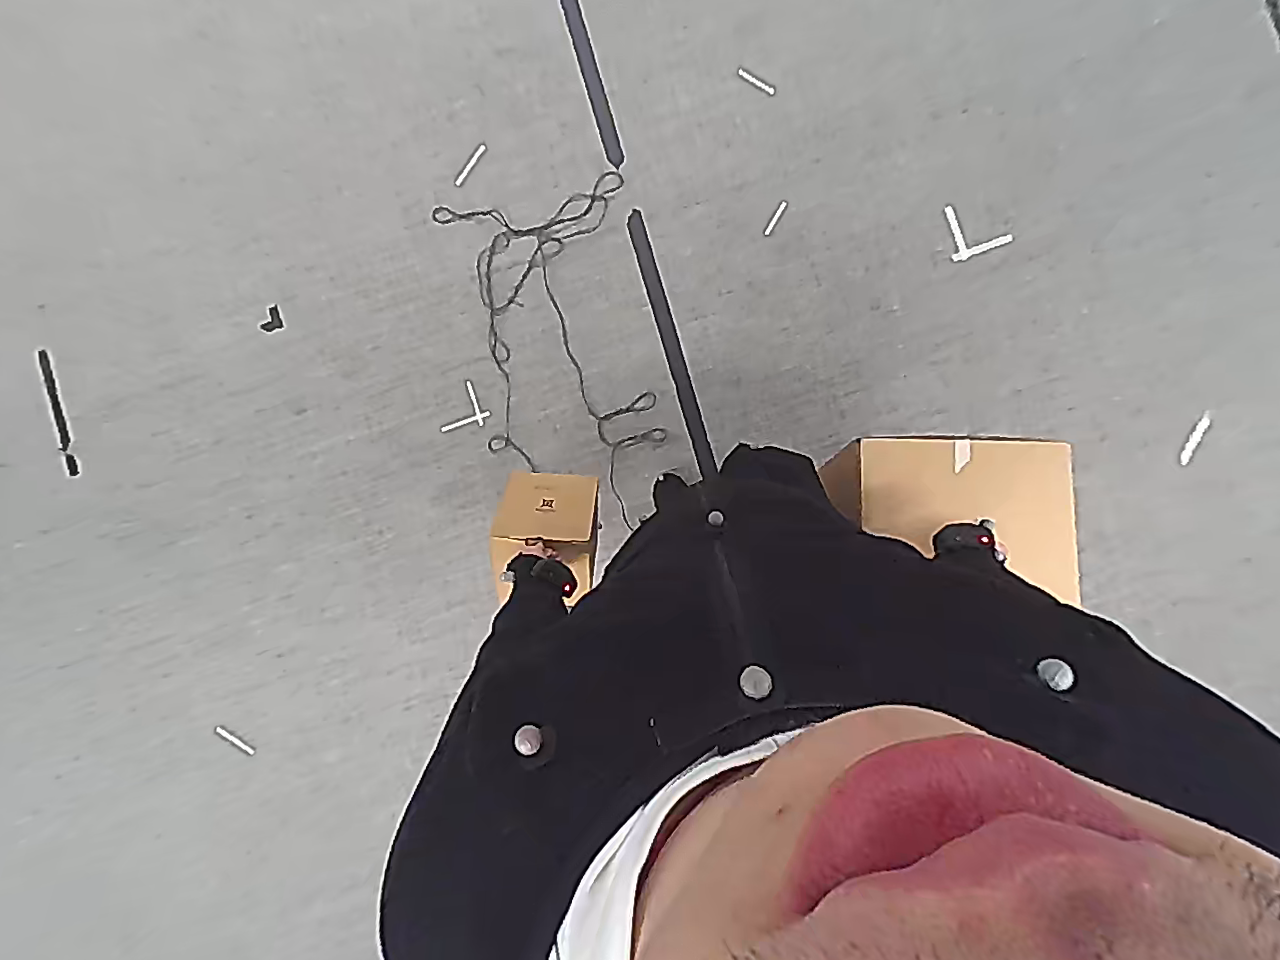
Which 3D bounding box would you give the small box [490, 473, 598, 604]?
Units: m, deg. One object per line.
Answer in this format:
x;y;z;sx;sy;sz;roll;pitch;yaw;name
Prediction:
-0.166;0.109;0.994;0.168;0.179;0.176;4;127;-2;small box
